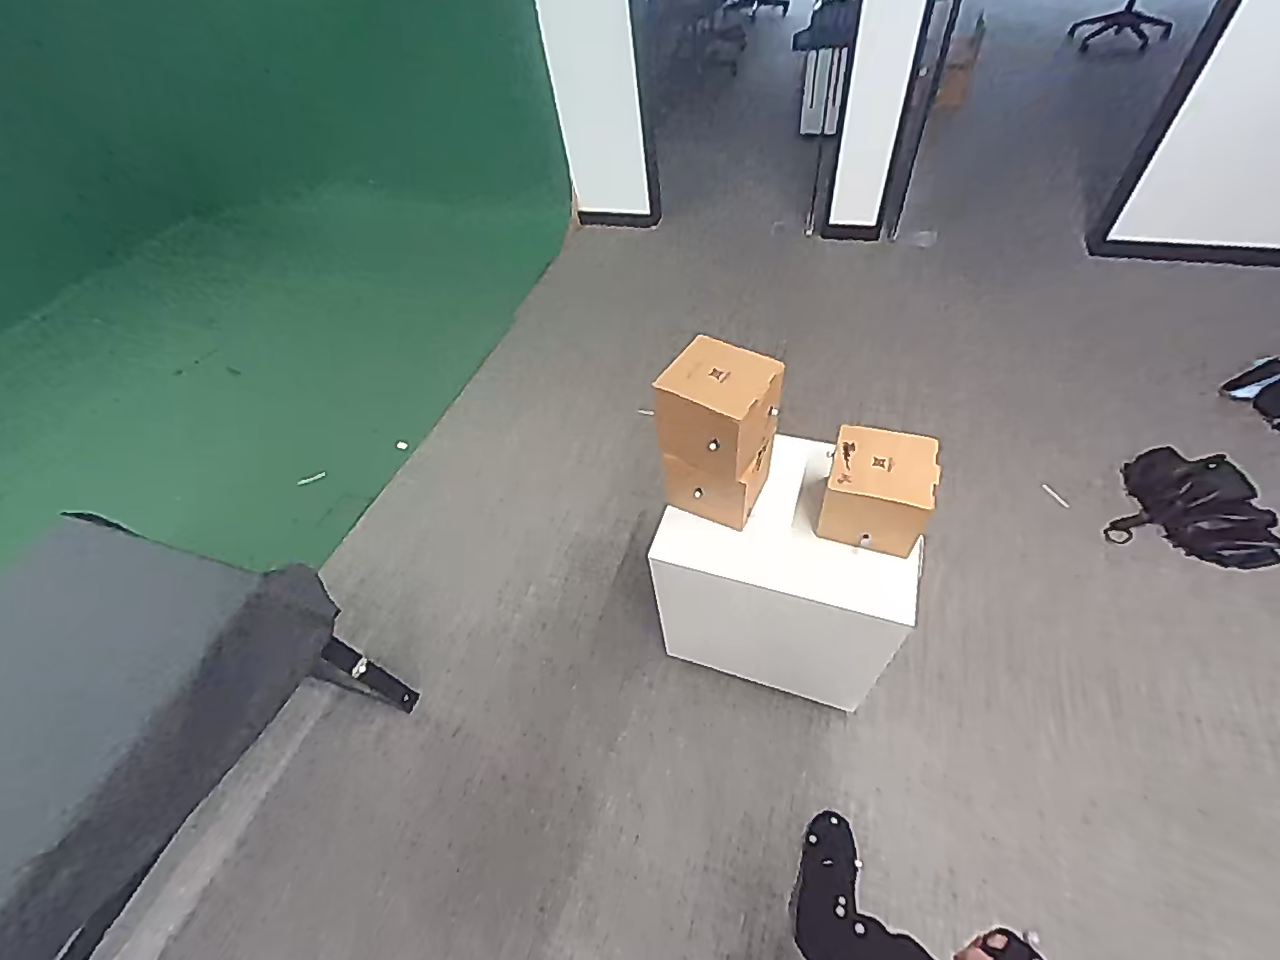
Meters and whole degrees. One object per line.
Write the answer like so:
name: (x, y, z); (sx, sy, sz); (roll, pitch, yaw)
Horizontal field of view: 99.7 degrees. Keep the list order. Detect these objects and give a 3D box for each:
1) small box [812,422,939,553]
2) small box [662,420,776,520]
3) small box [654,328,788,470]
small box: (0.447, 0.018, 1.039); (0.179, 0.176, 0.168); (15, 55, 17)
small box: (0.161, -0.040, 1.113); (0.179, 0.176, 0.168); (21, 56, 21)
small box: (0.145, -0.142, 0.989); (0.179, 0.176, 0.168); (27, 57, 24)
